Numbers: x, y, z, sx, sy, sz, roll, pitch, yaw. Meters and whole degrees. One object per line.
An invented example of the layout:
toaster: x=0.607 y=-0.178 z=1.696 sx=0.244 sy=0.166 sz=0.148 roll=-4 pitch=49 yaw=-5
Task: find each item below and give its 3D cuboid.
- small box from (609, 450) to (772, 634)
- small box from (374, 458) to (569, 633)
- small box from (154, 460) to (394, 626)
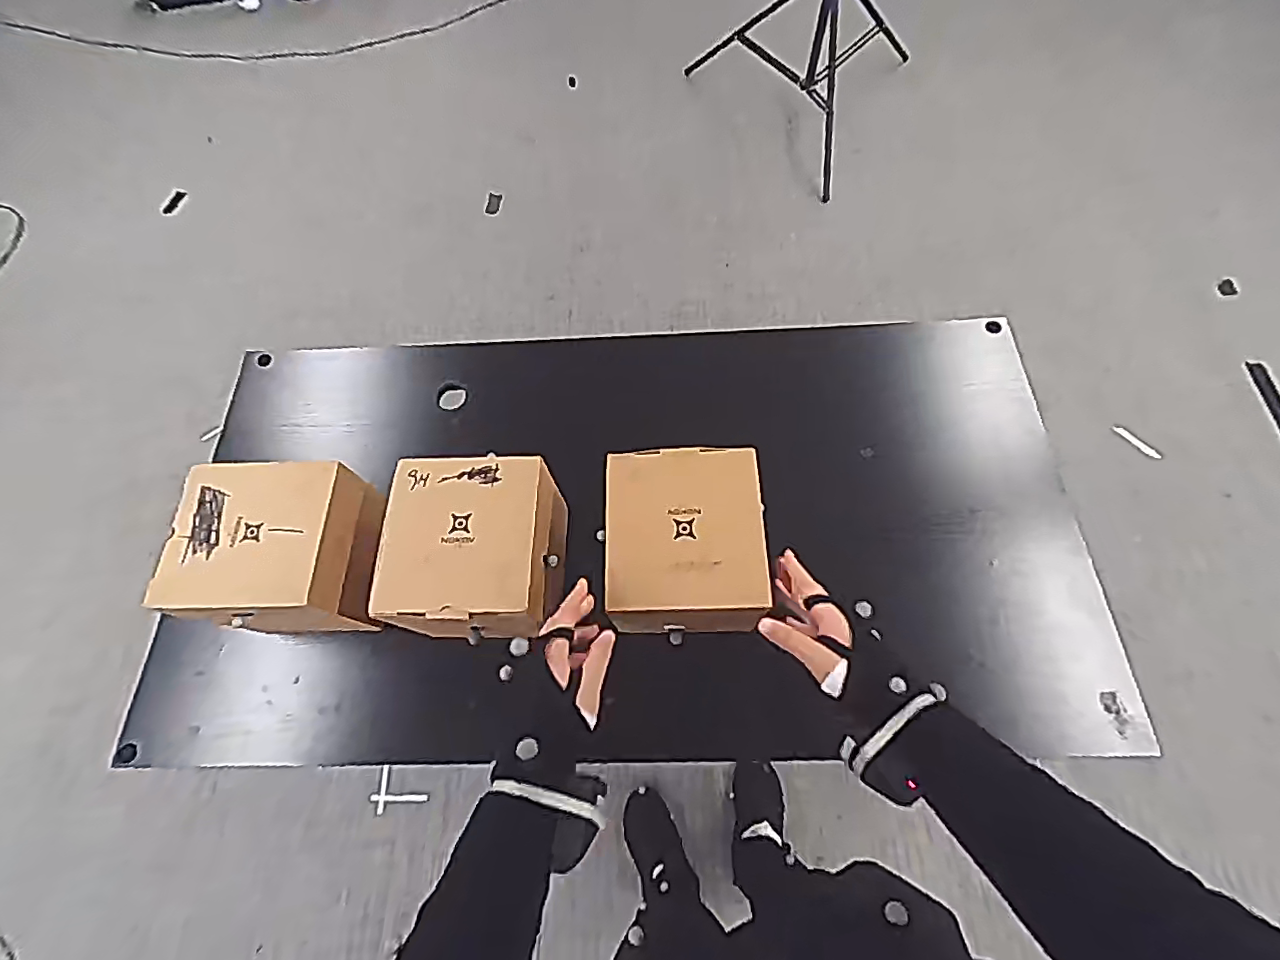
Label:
small box: x=0.054 y=0.081 z=0.641 sx=0.168 sy=0.176 sz=0.179 roll=-3 pitch=68 yaw=4
small box: x=-0.184 y=0.086 z=0.650 sx=0.168 sy=0.176 sz=0.179 roll=-1 pitch=67 yaw=4
small box: x=-0.417 y=0.085 z=0.663 sx=0.179 sy=0.176 sz=0.168 roll=-1 pitch=67 yaw=2
